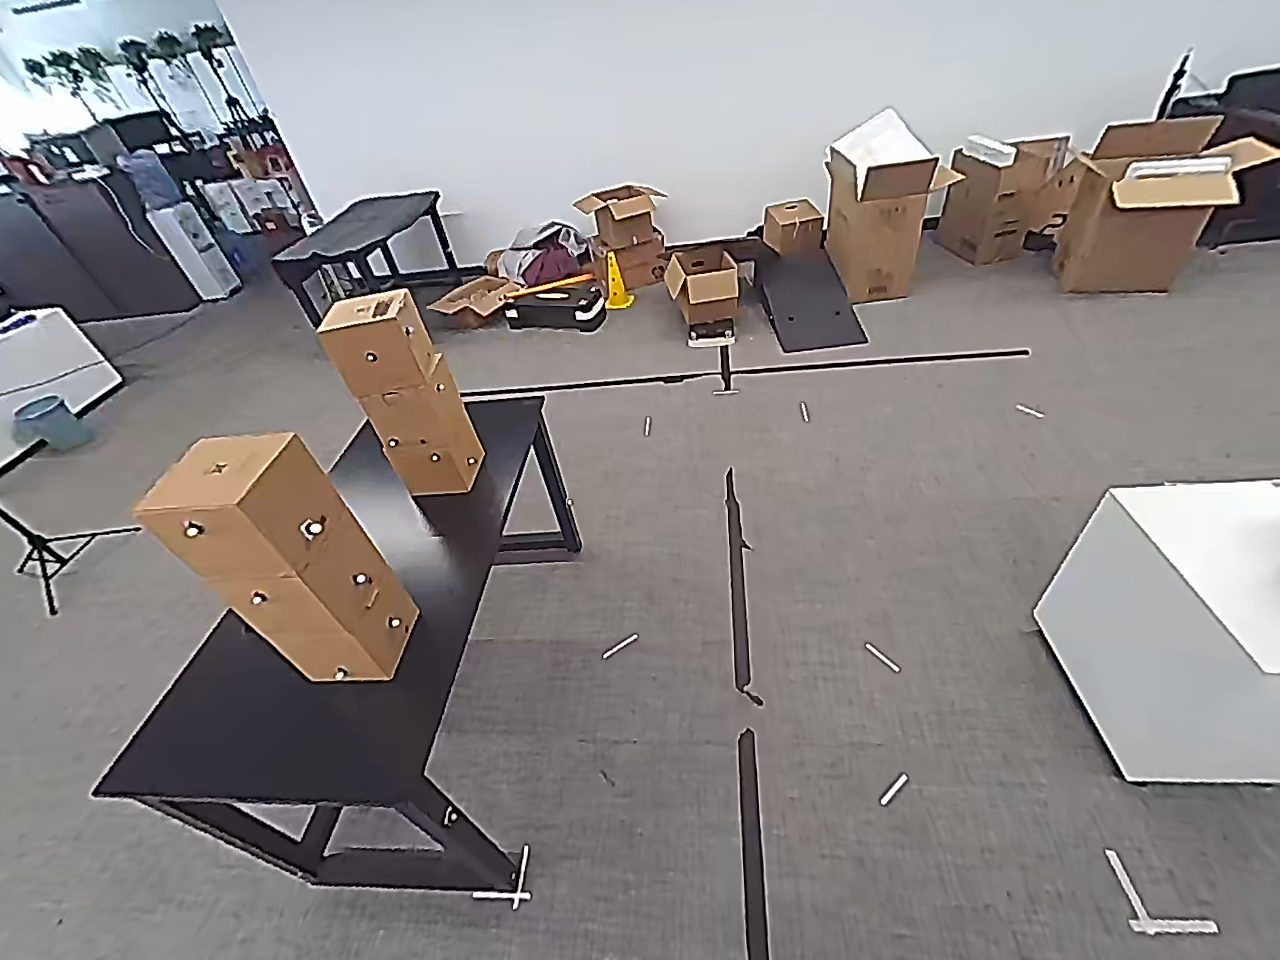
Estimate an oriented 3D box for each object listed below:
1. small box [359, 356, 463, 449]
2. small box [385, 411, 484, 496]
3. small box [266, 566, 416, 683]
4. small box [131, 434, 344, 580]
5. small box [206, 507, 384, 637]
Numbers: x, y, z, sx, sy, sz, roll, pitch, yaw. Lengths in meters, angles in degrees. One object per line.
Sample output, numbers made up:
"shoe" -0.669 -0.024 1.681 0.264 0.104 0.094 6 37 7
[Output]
"small box" -0.567 -0.191 1.368 0.168 0.176 0.179 -6 41 4
"small box" -0.553 -0.068 1.477 0.179 0.176 0.168 -4 42 7
"small box" -0.579 0.290 1.078 0.179 0.176 0.168 -4 41 6
"small box" -0.622 0.046 0.864 0.179 0.176 0.168 -4 43 6
"small box" -0.602 0.168 0.970 0.179 0.176 0.168 -4 42 7
